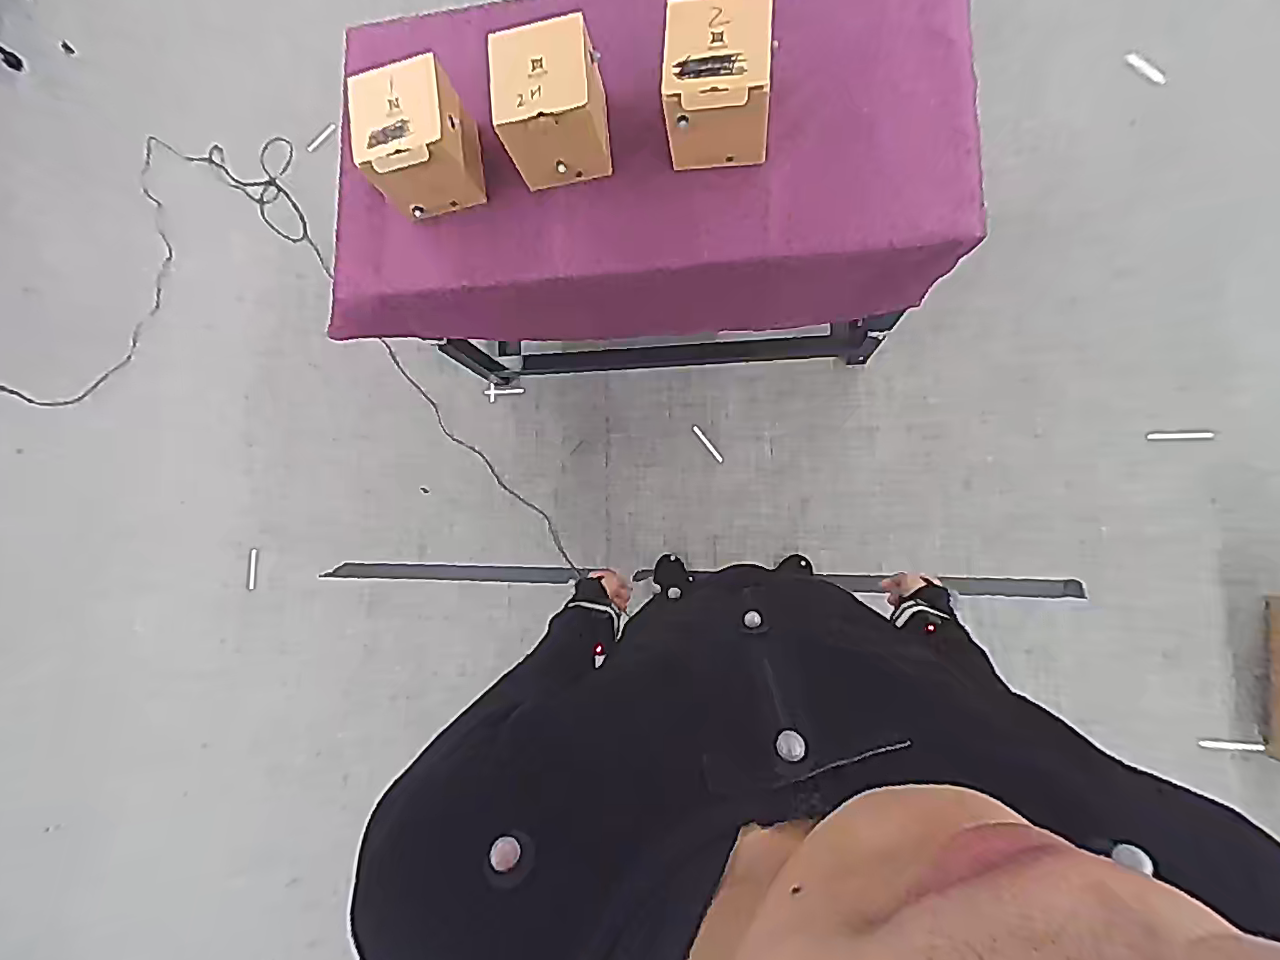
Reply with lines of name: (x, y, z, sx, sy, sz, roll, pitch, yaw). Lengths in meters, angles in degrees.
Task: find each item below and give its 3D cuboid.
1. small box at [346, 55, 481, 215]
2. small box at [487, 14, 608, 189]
small box: (-0.409, -0.620, 1.001, 0.168, 0.176, 0.179, -10, 82, 8)
small box: (-0.159, -0.661, 0.963, 0.168, 0.176, 0.179, -6, 83, 9)
